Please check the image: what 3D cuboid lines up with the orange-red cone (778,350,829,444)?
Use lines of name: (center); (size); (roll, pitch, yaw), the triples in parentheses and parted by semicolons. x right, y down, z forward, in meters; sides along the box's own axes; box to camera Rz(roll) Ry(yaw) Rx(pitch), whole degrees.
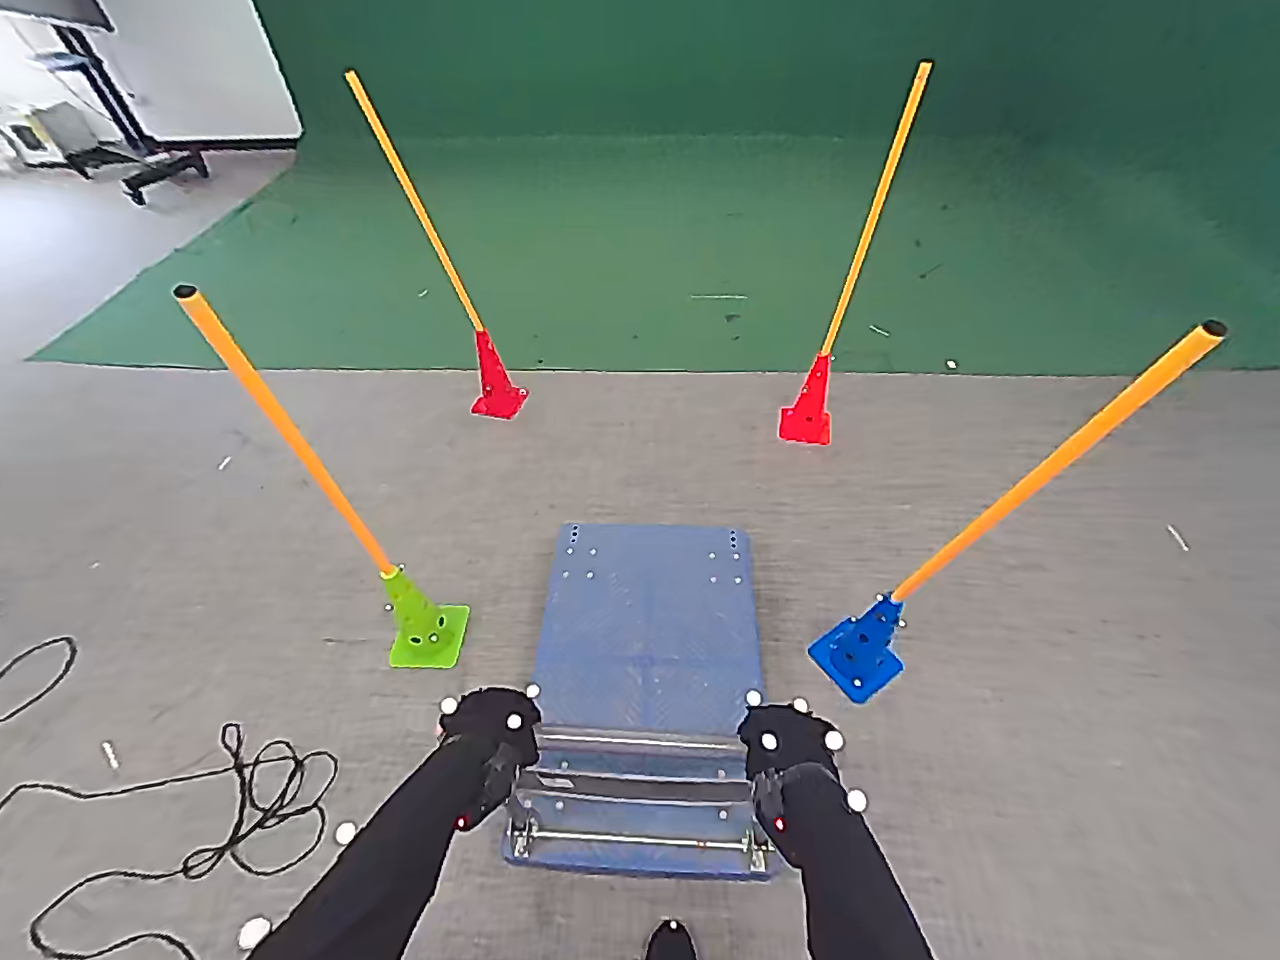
orange-red cone: (0.663, -0.338, 2.073); (0.198, 0.360, 0.199); (9, 50, 10)
